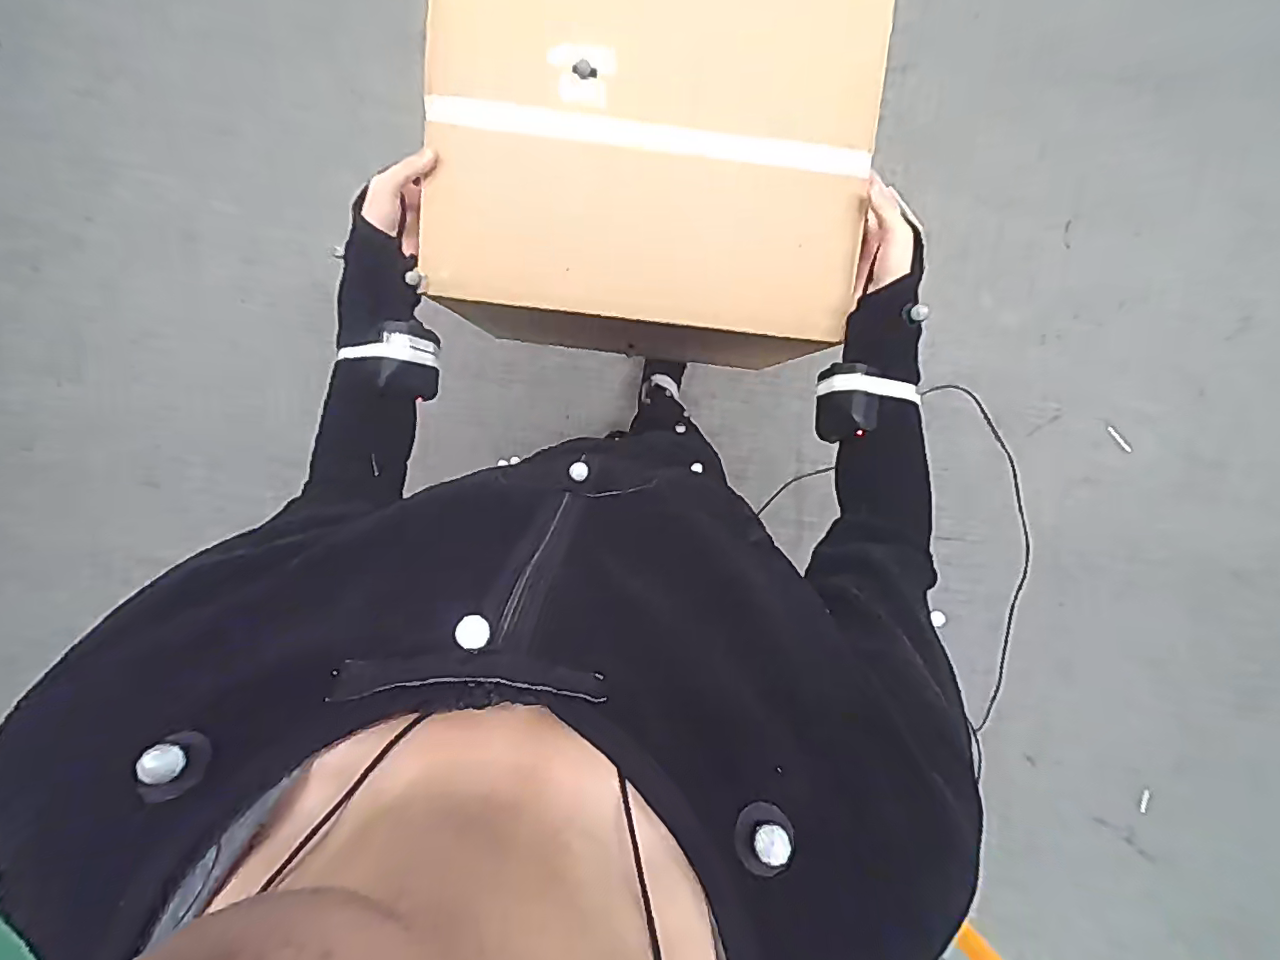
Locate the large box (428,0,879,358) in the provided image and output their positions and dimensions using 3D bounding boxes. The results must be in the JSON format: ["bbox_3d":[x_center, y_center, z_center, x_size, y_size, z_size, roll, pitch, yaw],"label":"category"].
[{"bbox_3d":[0.006,-0.329,0.649,0.408,0.320,0.320,6,96,-3],"label":"large box"}]
